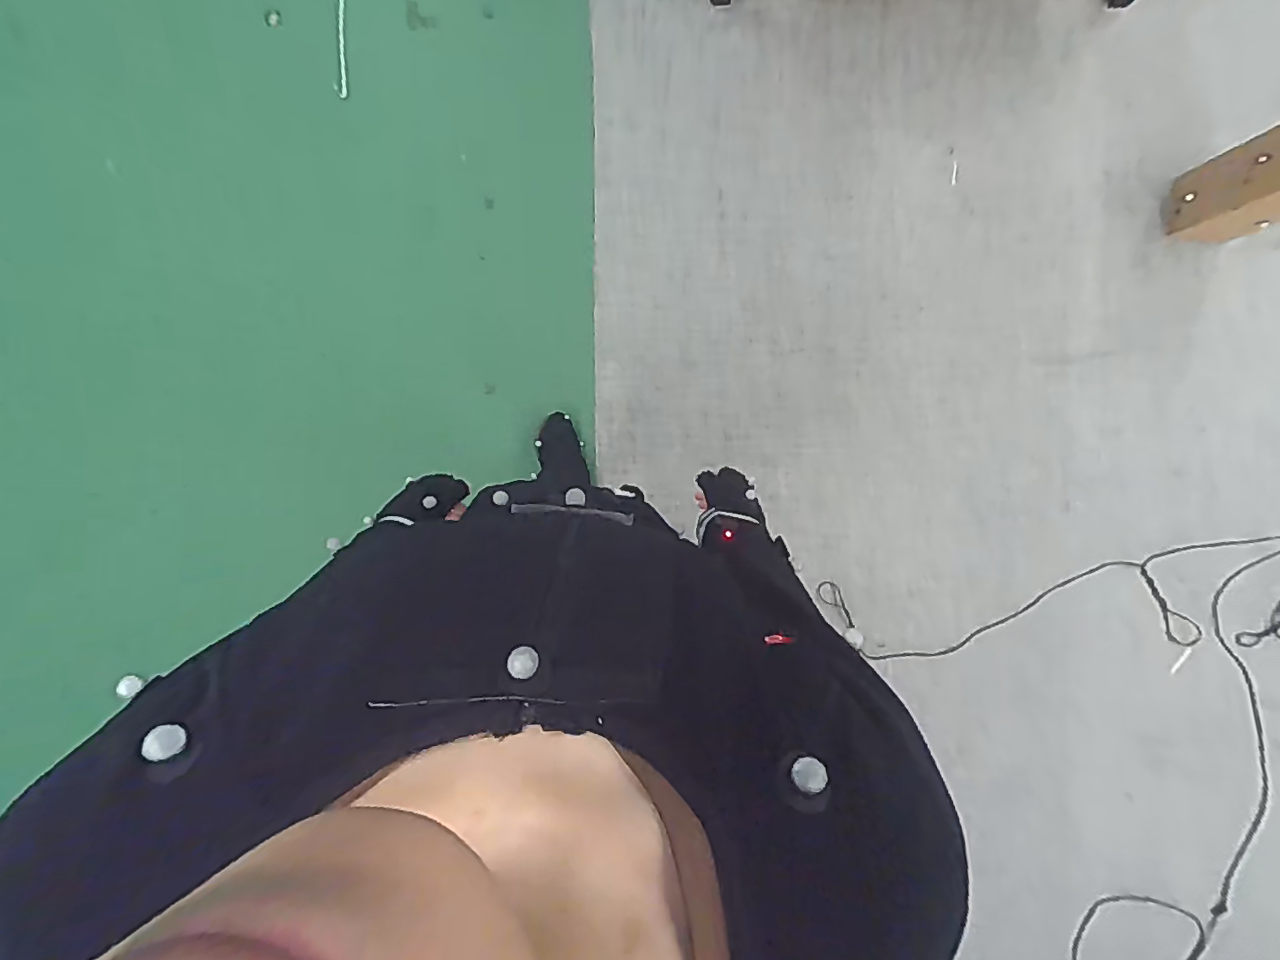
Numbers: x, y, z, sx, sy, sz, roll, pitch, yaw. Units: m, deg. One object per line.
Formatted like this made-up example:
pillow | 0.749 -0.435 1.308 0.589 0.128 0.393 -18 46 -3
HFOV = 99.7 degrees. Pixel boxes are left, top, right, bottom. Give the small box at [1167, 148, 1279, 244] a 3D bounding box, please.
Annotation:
small box | 1.580 -0.750 1.444 0.179 0.176 0.168 4 91 -2
